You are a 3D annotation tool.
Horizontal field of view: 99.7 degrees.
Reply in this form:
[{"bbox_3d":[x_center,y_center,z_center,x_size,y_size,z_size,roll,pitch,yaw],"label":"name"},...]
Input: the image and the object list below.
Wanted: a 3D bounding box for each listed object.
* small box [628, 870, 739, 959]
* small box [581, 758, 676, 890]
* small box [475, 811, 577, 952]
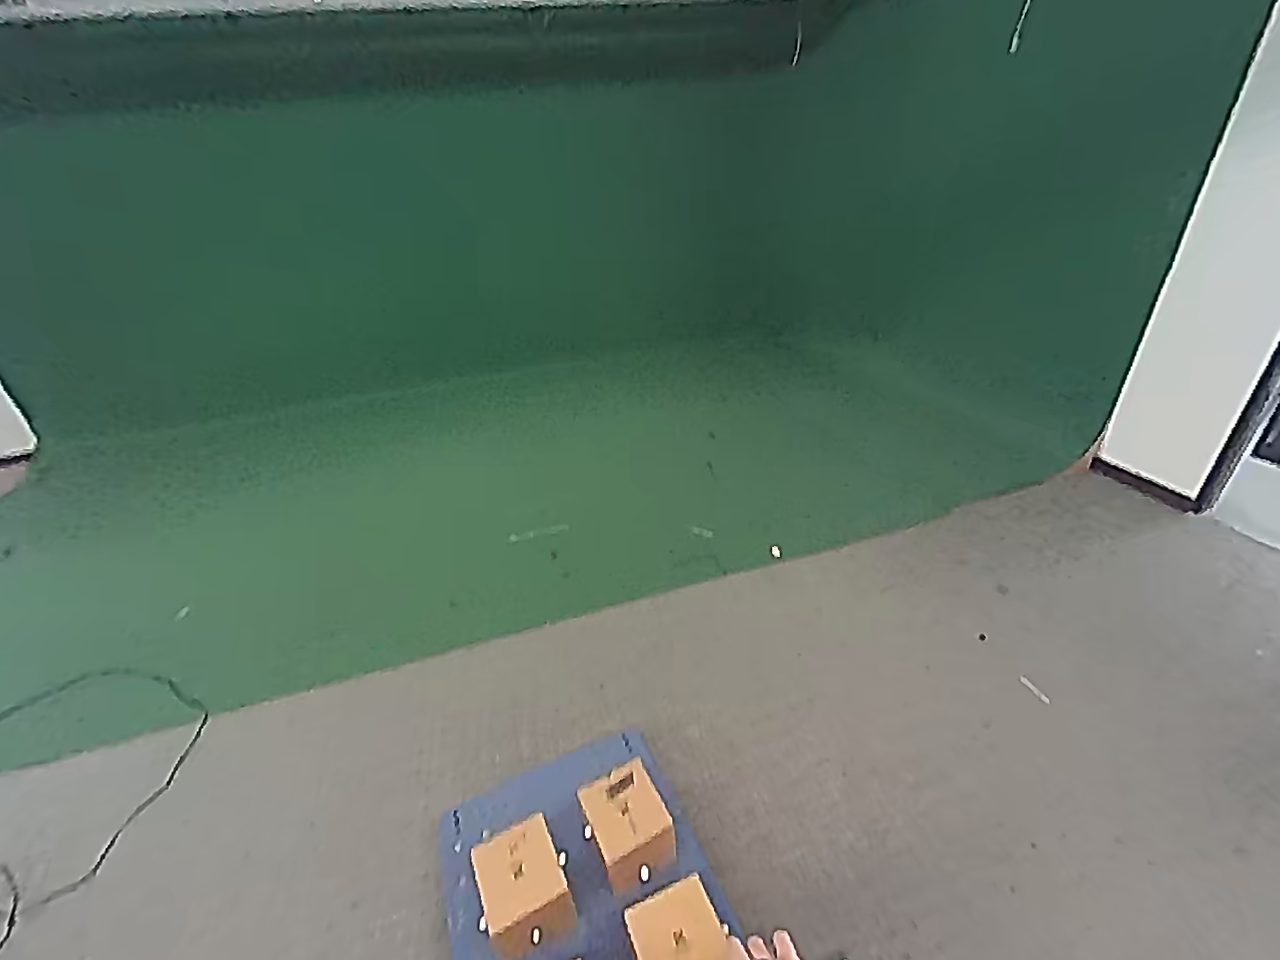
[{"bbox_3d":[0.084,0.939,1.075,0.168,0.176,0.179,-16,33,-18],"label":"small box"},{"bbox_3d":[-0.027,0.816,1.289,0.168,0.176,0.179,-19,35,-21],"label":"small box"},{"bbox_3d":[-0.249,0.892,1.196,0.168,0.176,0.179,-18,34,-22],"label":"small box"}]
